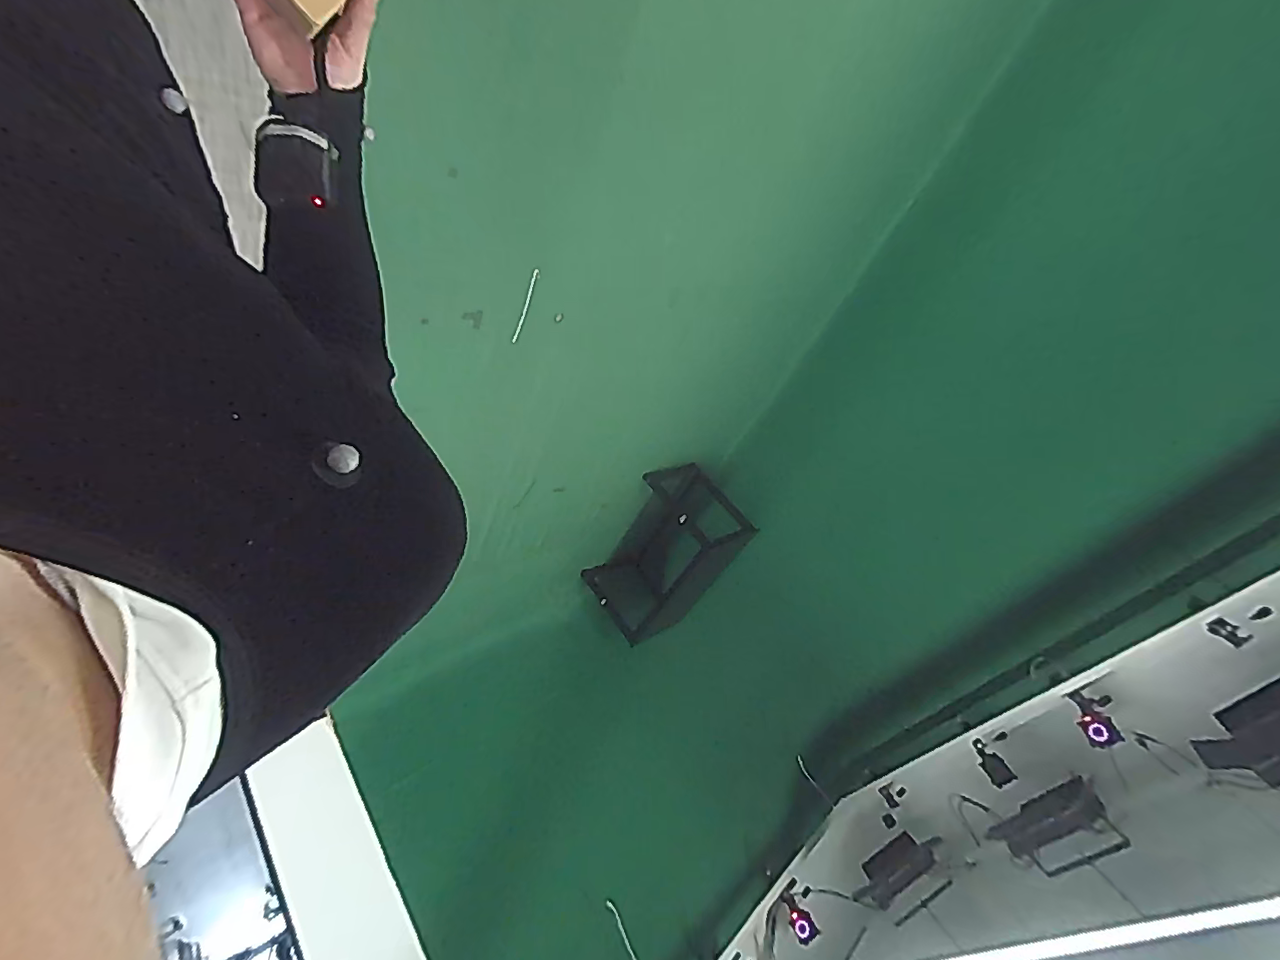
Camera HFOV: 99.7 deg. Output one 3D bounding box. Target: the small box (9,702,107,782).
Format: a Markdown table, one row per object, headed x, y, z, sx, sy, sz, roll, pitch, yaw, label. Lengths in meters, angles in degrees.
| x | y | z | sx | sy | sz | roll | pitch | yaw | label |
| --- | --- | --- | --- | --- | --- | --- | --- | --- | --- |
| -1.647 | 0.769 | 1.536 | 0.168 | 0.176 | 0.179 | -14 | 144 | -45 | small box |

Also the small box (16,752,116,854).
| x | y | z | sx | sy | sz | roll | pitch | yaw | label |
| --- | --- | --- | --- | --- | --- | --- | --- | --- | --- |
| -1.548 | 0.877 | 1.466 | 0.168 | 0.176 | 0.179 | -14 | 143 | -44 | small box |
